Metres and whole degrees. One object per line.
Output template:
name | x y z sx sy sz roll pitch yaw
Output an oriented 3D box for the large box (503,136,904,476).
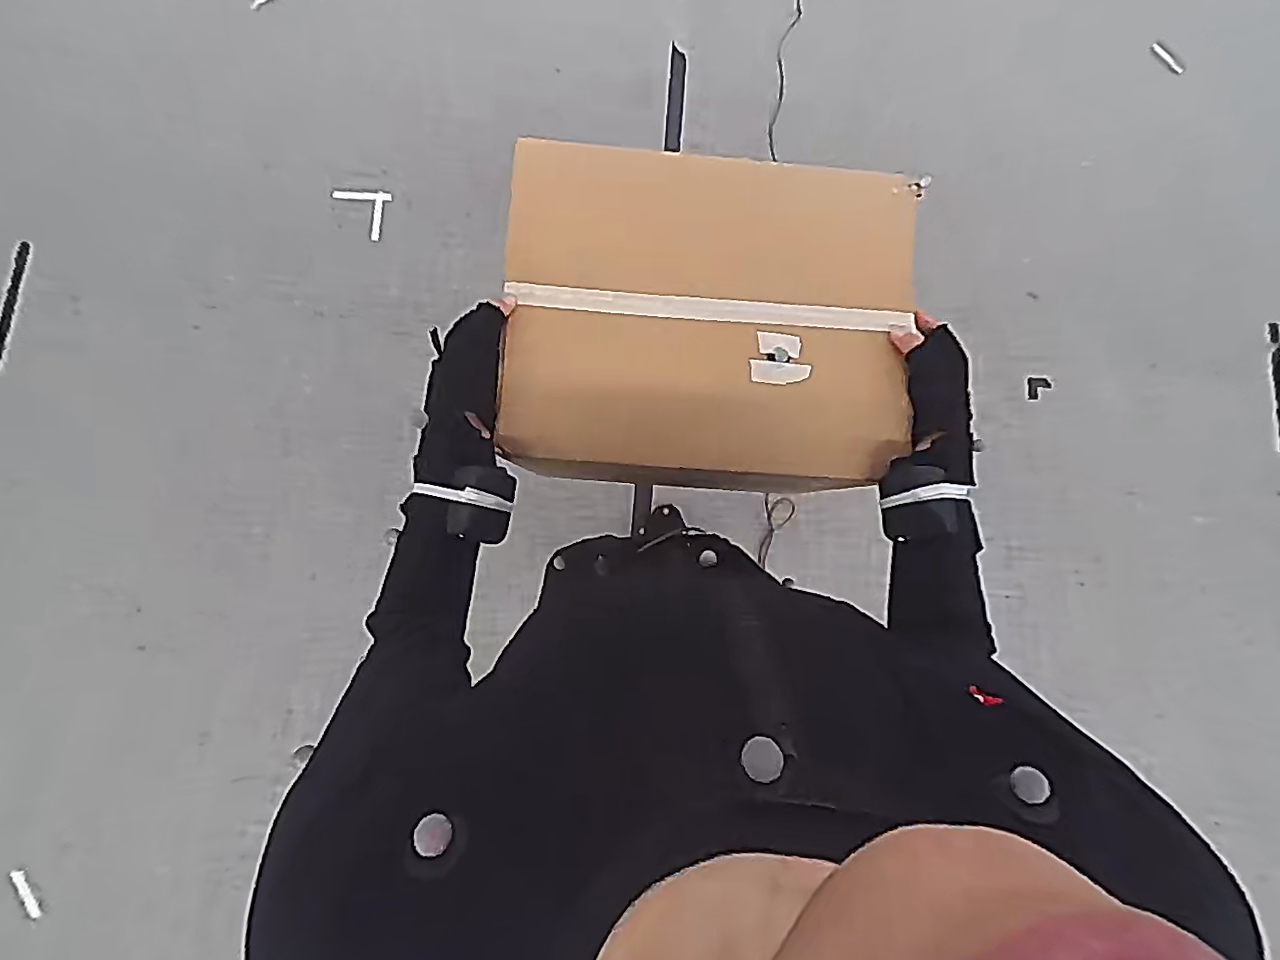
large box | 0.058 -0.174 0.691 0.408 0.320 0.320 4 88 -4
